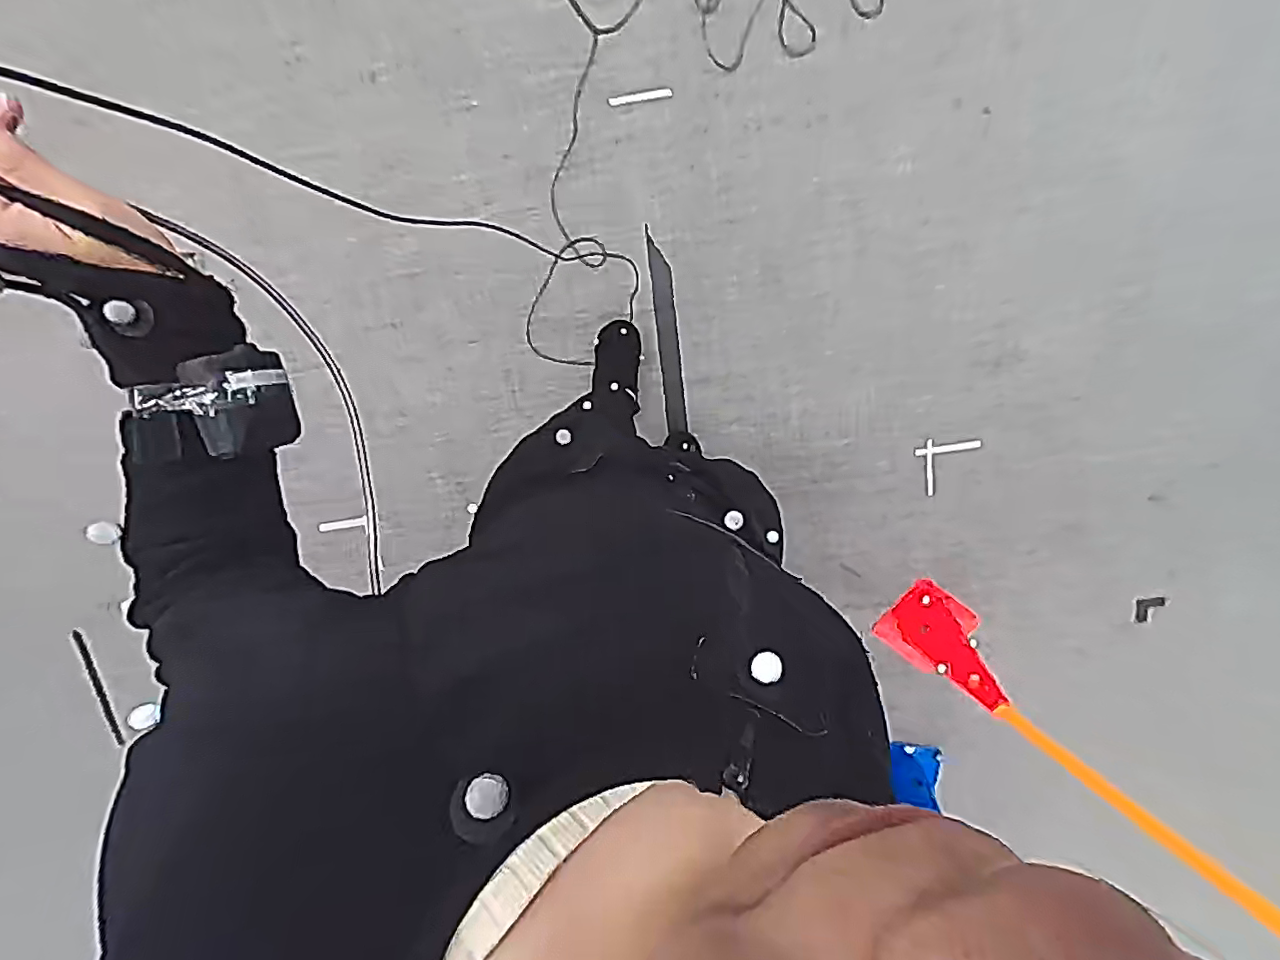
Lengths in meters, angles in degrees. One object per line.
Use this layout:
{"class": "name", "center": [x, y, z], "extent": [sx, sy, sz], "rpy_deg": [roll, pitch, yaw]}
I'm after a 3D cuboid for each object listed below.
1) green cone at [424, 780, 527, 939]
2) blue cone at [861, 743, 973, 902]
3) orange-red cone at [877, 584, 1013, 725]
{"class": "green cone", "center": [-0.465, 1.024, 1.433], "extent": [0.200, 0.368, 0.202], "rpy_deg": [-20, 99, 8]}
{"class": "blue cone", "center": [0.698, 0.850, 1.322], "extent": [0.193, 0.380, 0.192], "rpy_deg": [8, 102, 3]}
{"class": "orange-red cone", "center": [0.720, 0.420, 1.214], "extent": [0.198, 0.360, 0.199], "rpy_deg": [38, 104, -3]}
